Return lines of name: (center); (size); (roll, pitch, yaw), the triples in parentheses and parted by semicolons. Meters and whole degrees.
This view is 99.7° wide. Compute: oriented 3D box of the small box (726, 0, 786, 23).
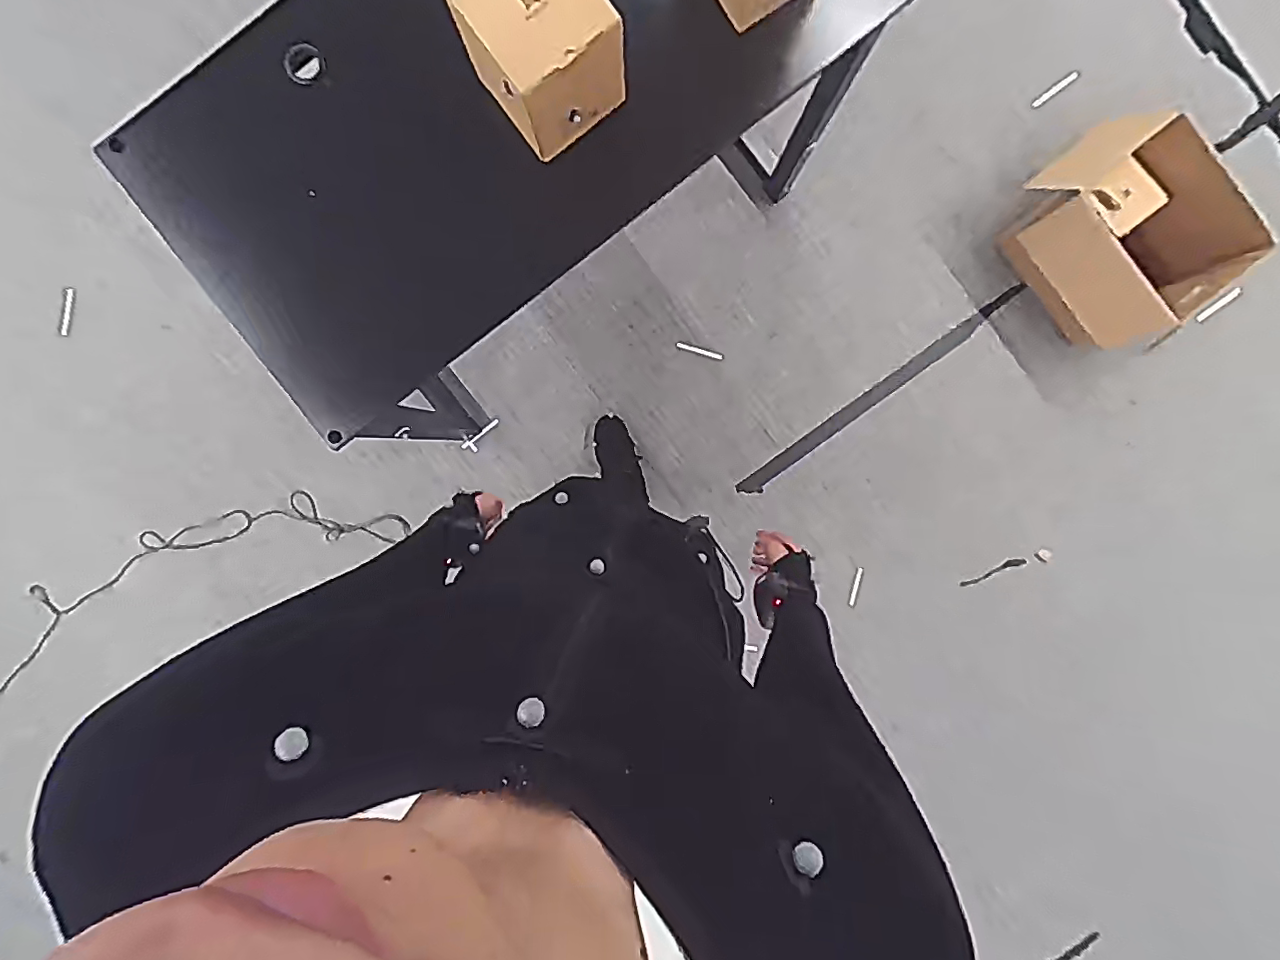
small box: (0.182, -0.814, 0.756); (0.168, 0.176, 0.179); (-32, 93, 3)

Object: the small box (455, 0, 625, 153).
small box: (-0.136, -0.621, 0.770); (0.168, 0.176, 0.179); (-38, 93, 2)
